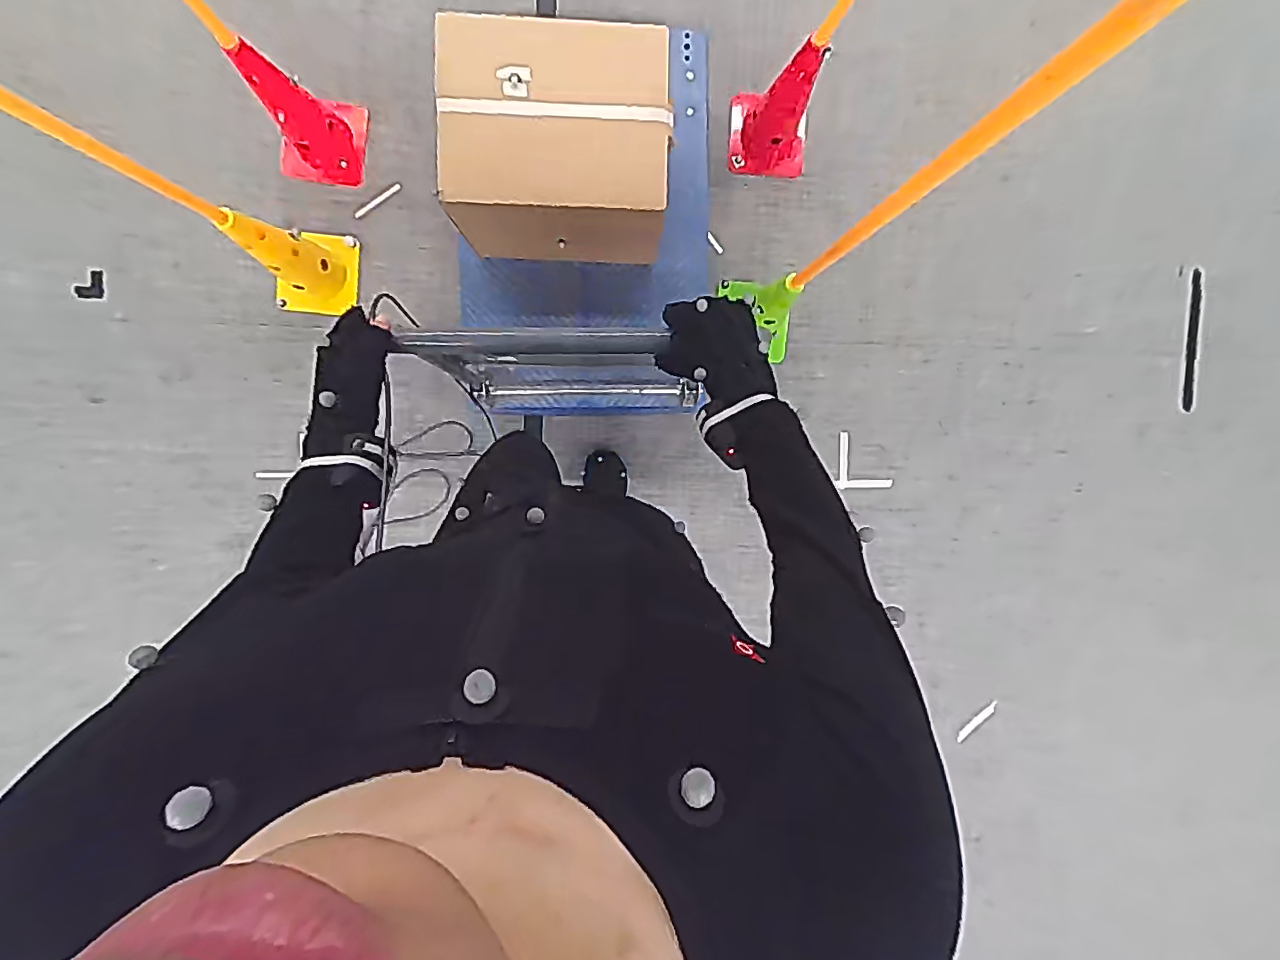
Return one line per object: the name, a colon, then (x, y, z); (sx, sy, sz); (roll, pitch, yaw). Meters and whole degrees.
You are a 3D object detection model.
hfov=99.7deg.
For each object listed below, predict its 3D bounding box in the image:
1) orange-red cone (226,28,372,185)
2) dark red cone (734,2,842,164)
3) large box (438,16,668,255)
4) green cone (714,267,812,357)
orange-red cone: (-0.780, -0.853, 1.199); (0.198, 0.360, 0.199); (9, 93, -4)
dark red cone: (0.352, -0.906, 1.225); (0.201, 0.394, 0.202); (1, 95, -5)
large box: (-0.154, -0.660, 1.095); (0.408, 0.320, 0.320); (1, 95, -2)
green cone: (0.316, -0.425, 1.279); (0.202, 0.368, 0.200); (5, 94, -4)
